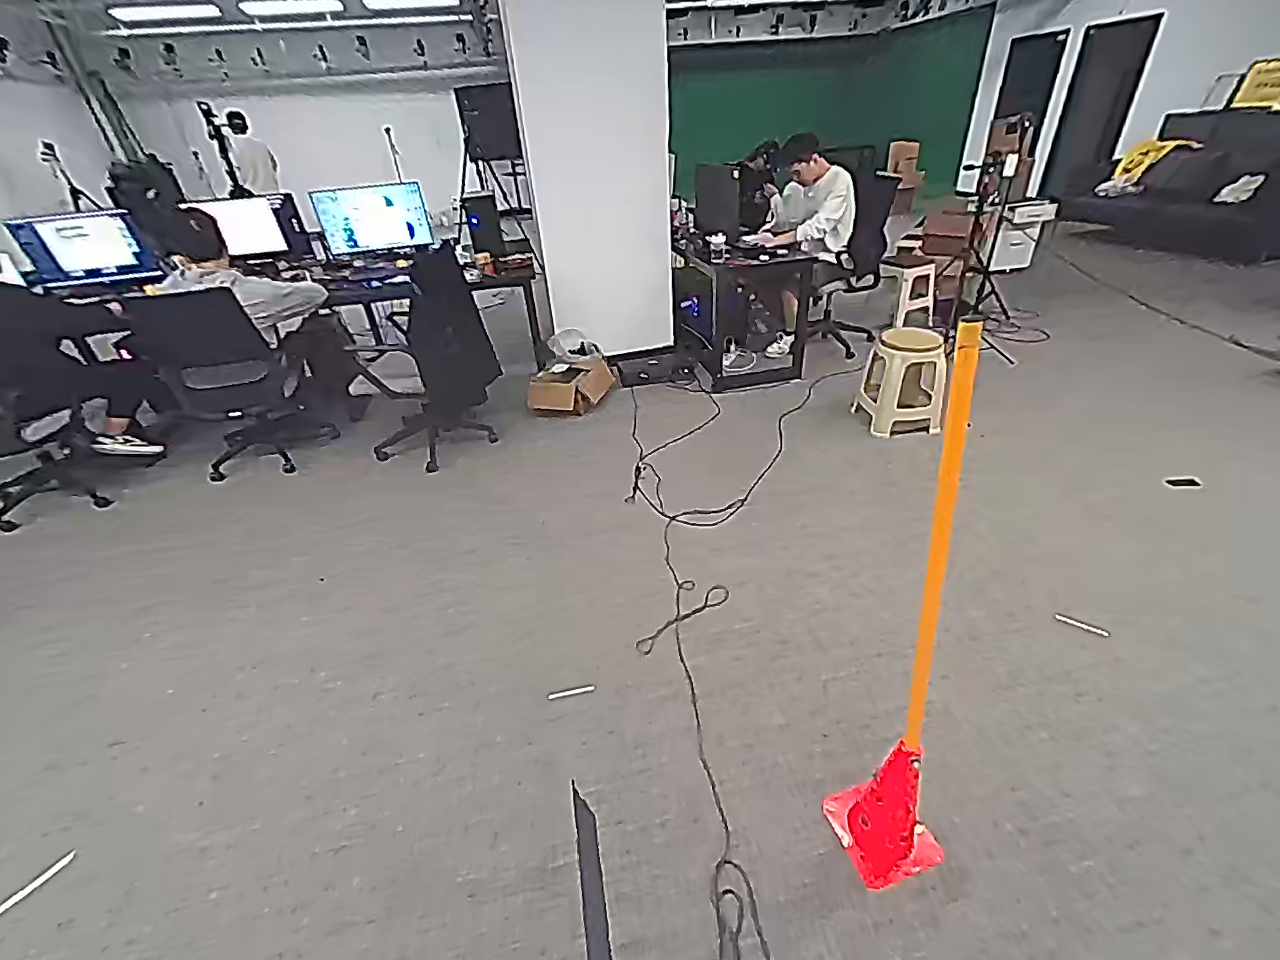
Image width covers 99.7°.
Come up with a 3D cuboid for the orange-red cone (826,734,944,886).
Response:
[{"bbox_3d":[0.545,0.664,1.156,0.199,0.360,0.198,-14,33,-11],"label":"orange-red cone"}]
